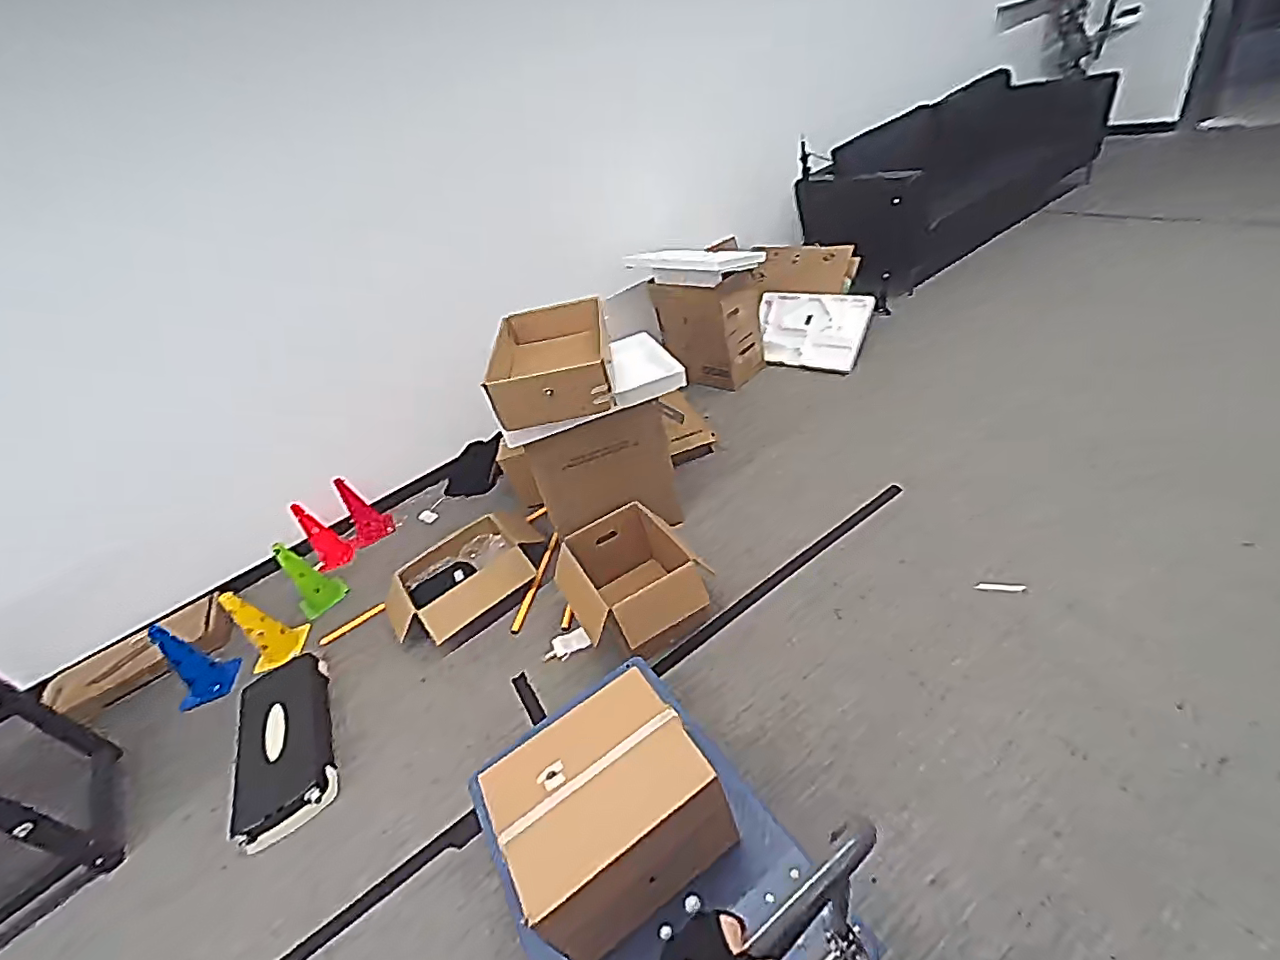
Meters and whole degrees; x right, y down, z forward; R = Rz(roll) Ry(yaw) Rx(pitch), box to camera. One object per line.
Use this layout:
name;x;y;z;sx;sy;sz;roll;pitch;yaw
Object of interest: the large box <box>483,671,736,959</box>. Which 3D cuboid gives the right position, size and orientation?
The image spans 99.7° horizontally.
large box;-0.056;0.715;1.175;0.408;0.320;0.320;-31;37;-17
